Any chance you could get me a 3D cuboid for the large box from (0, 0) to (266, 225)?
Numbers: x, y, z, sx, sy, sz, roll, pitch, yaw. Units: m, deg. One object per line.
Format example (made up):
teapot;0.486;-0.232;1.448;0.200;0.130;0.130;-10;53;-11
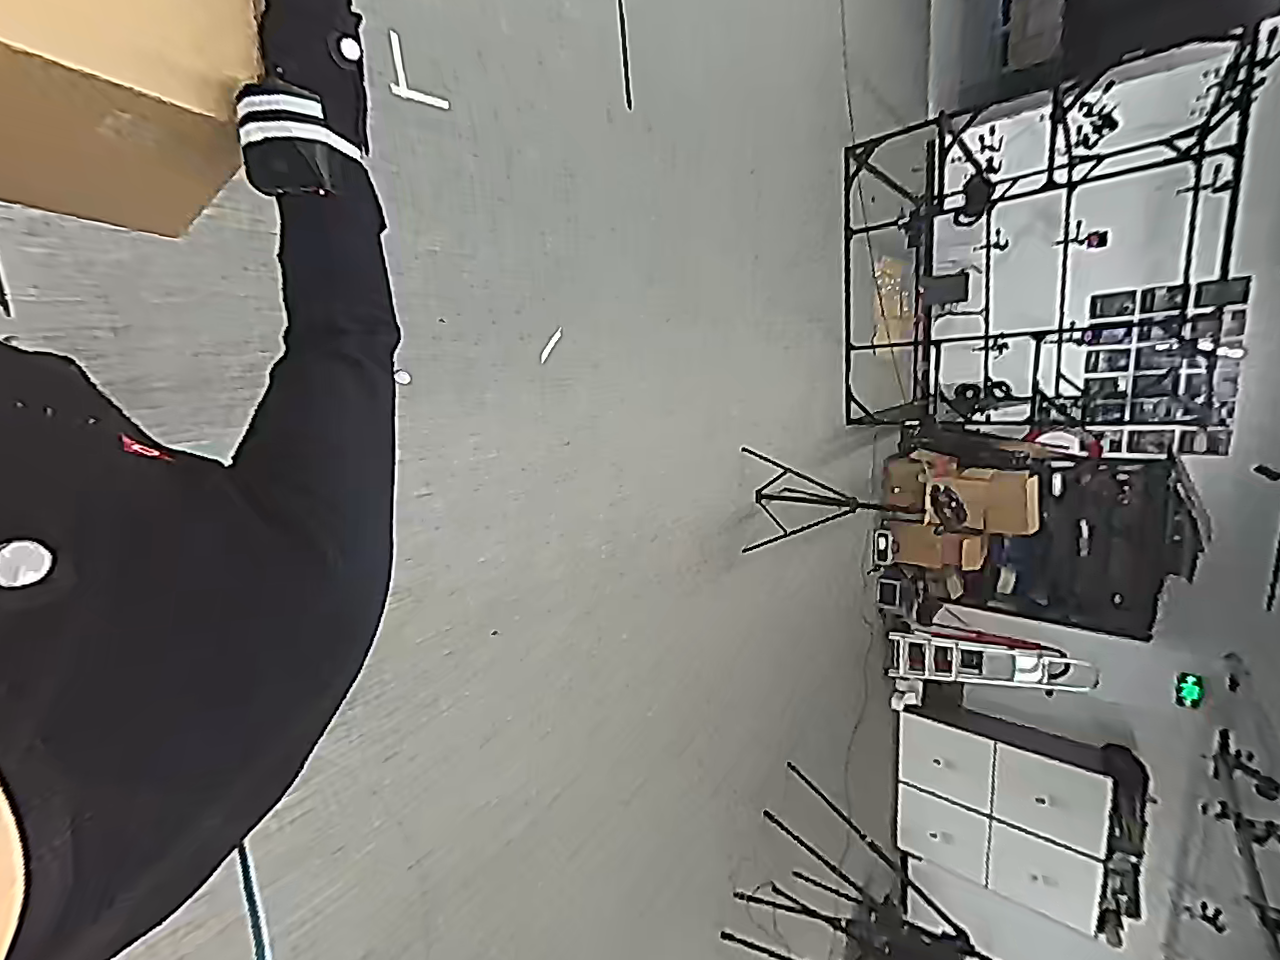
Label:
large box;-0.531;-0.408;0.342;0.408;0.320;0.320;-7;98;-50
